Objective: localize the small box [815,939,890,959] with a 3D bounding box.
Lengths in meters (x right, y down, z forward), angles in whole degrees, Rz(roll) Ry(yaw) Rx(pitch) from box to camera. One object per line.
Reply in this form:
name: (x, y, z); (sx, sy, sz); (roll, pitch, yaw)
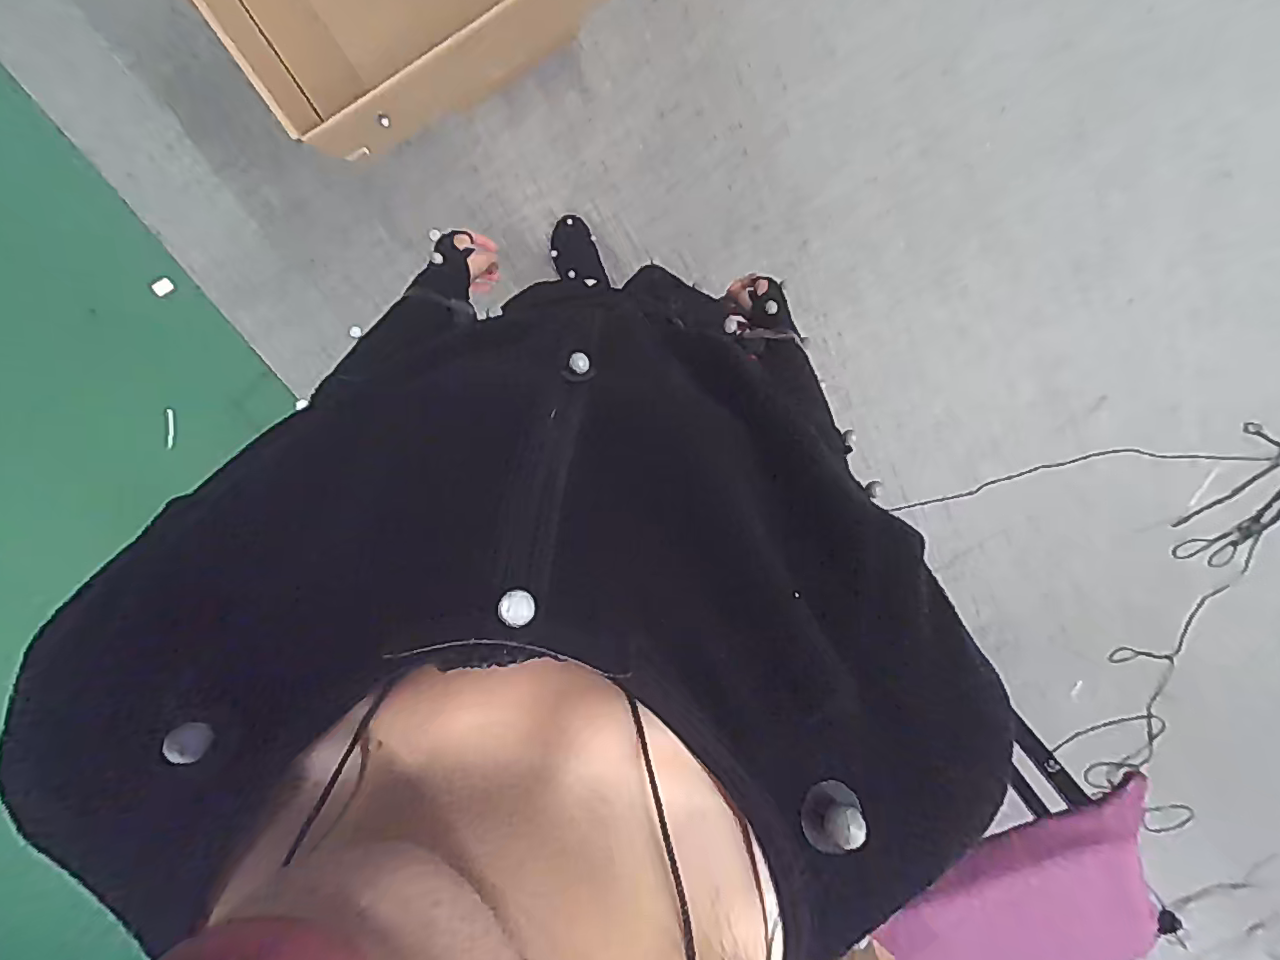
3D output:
small box: (0.571, 1.305, 1.359); (0.168, 0.176, 0.179); (-34, 114, 11)
